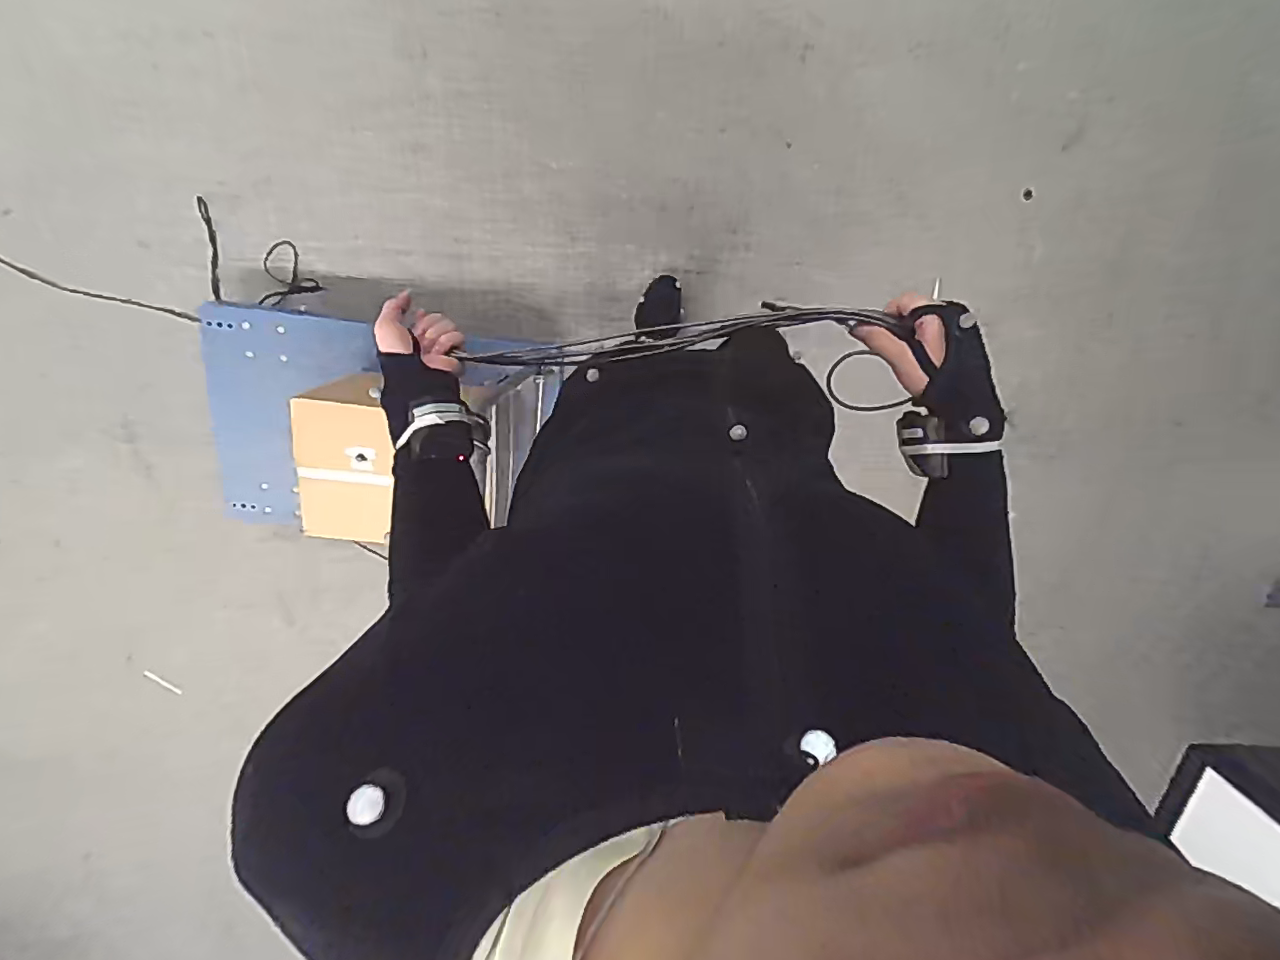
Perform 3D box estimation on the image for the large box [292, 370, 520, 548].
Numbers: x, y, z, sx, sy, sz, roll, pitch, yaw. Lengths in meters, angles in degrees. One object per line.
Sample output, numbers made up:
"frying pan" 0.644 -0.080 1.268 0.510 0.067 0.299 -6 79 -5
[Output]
"large box" -0.511 -0.062 1.272 0.408 0.320 0.320 6 110 -4
